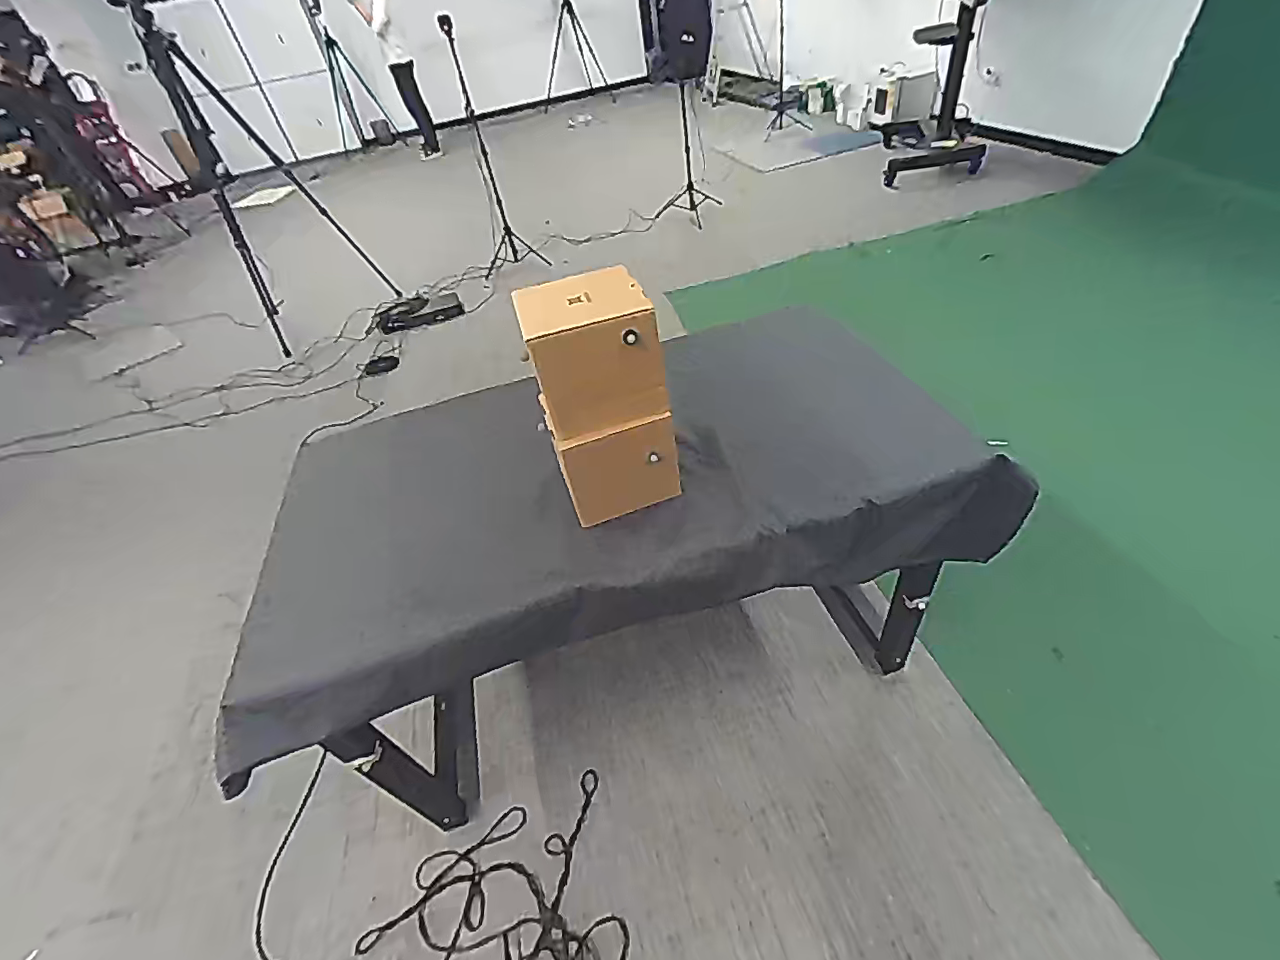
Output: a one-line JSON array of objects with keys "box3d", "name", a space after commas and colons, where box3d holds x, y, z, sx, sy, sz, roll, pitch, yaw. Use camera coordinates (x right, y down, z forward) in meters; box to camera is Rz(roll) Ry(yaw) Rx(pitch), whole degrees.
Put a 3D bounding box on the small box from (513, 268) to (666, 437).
[{"box3d": [-0.072, -0.185, 0.796, 0.179, 0.176, 0.168, -16, 42, -7], "name": "small box"}]
